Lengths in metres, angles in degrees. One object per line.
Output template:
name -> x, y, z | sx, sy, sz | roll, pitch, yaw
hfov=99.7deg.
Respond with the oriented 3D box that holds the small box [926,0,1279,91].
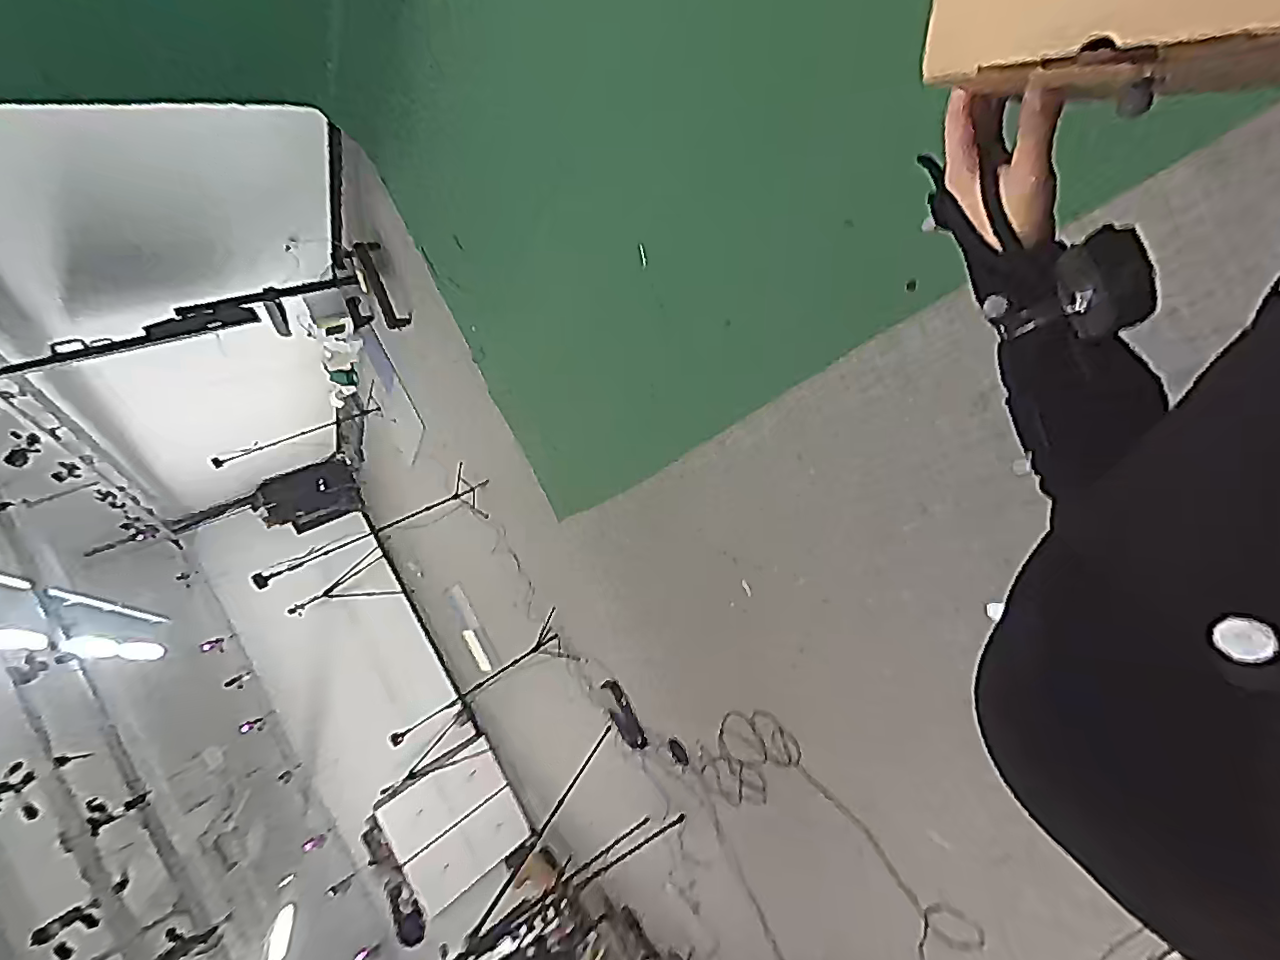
small box -> 0.276, -0.300, 0.259 | 0.168, 0.176, 0.179 | 31, 132, 42
